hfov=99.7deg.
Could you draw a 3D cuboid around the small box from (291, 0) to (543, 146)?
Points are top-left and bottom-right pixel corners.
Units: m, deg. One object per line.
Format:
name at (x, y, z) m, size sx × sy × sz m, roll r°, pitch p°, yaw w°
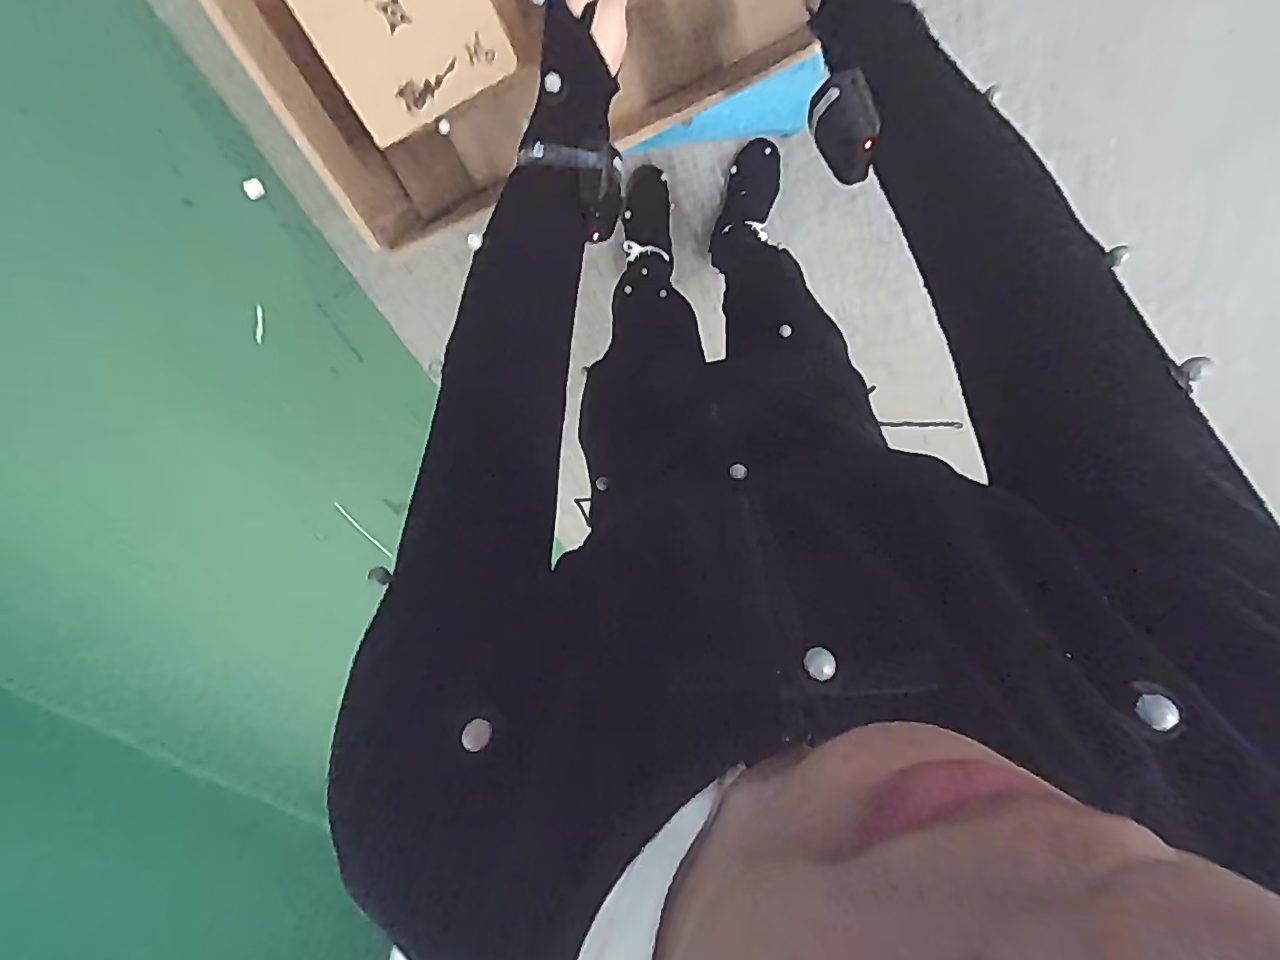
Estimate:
small box at (-0.217, -0.468, 0.541) m, size 0.168 × 0.176 × 0.179 m, roll -17°, pitch 125°, yaw 15°
